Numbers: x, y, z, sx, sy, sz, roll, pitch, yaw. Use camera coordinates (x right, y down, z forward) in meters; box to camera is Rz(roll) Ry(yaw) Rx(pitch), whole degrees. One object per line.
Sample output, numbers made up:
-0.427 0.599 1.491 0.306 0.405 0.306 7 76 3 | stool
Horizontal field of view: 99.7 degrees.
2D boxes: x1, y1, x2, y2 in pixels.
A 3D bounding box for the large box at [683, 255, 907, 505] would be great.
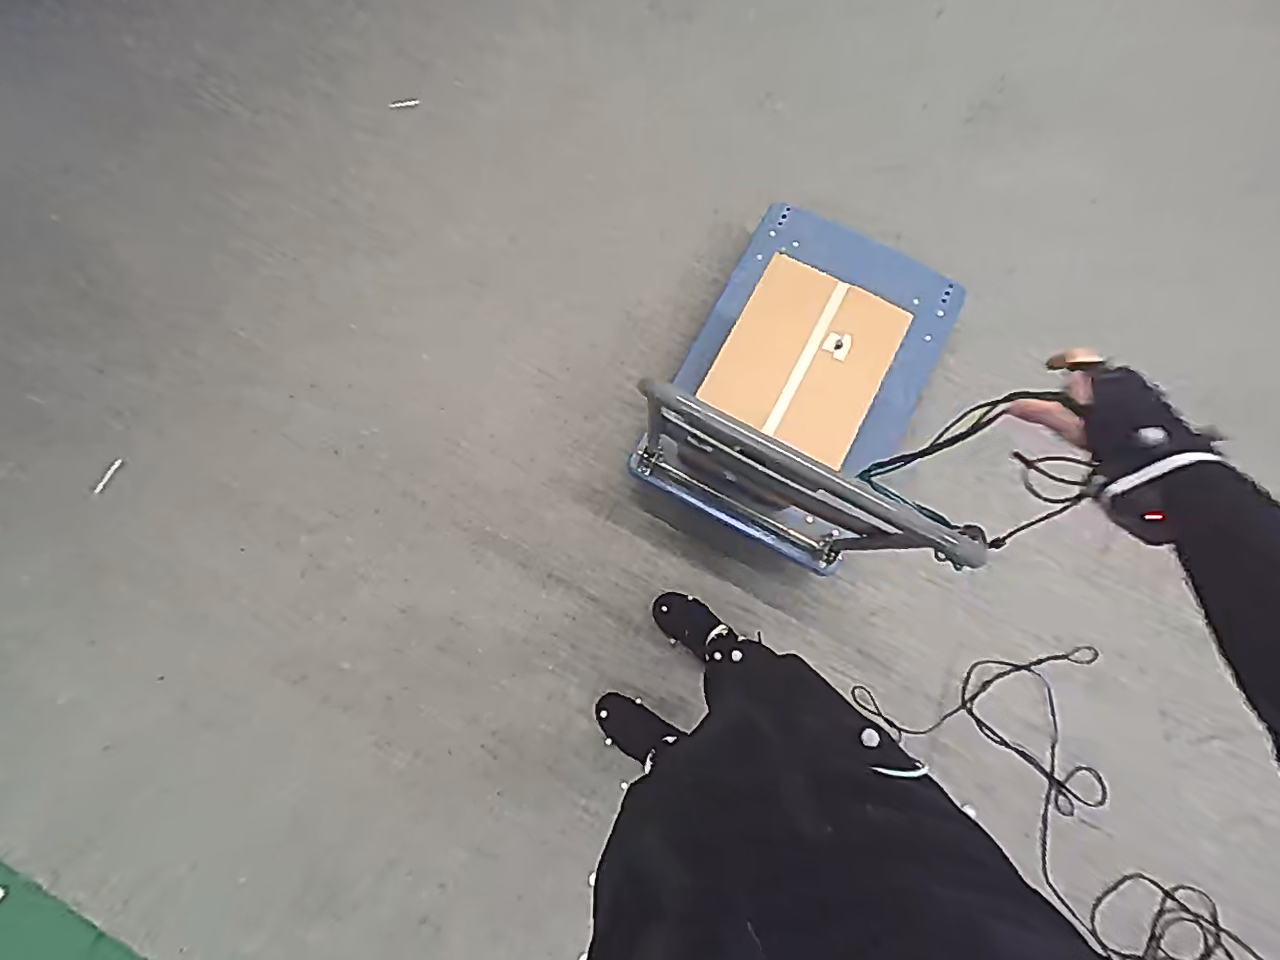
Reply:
0.325 -0.204 1.230 0.320 0.320 0.408 28 79 5 | large box
